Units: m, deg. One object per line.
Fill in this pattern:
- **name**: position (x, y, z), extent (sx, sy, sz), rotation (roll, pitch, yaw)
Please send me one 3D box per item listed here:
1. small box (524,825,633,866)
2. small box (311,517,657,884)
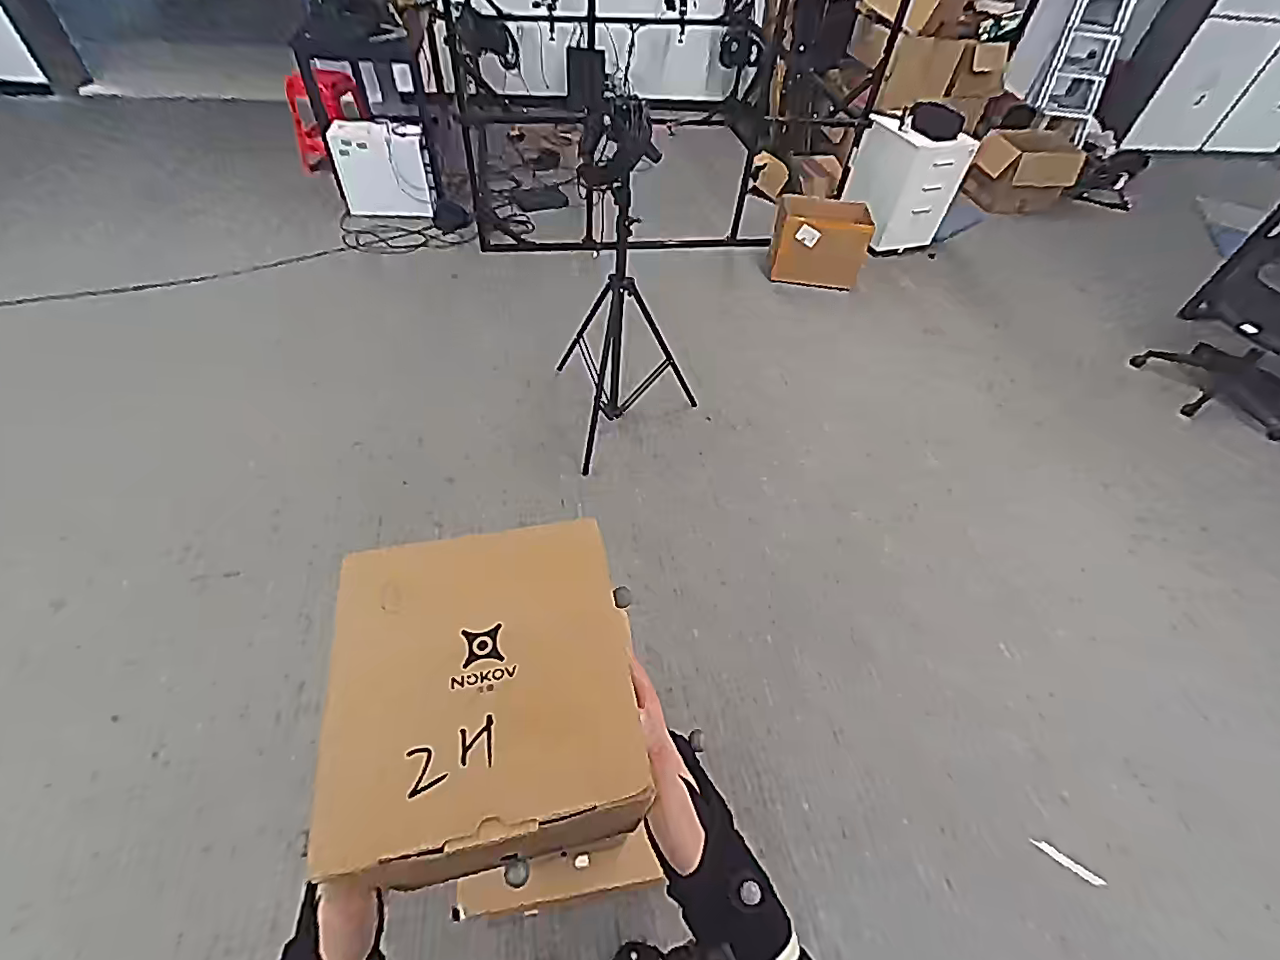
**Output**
- **small box**: position (-0.111, 0.470, 0.835), extent (0.168, 0.176, 0.179), rotation (-6, 52, -10)
- **small box**: position (-0.094, 0.151, 0.371), extent (0.168, 0.176, 0.179), rotation (-8, 54, -11)
